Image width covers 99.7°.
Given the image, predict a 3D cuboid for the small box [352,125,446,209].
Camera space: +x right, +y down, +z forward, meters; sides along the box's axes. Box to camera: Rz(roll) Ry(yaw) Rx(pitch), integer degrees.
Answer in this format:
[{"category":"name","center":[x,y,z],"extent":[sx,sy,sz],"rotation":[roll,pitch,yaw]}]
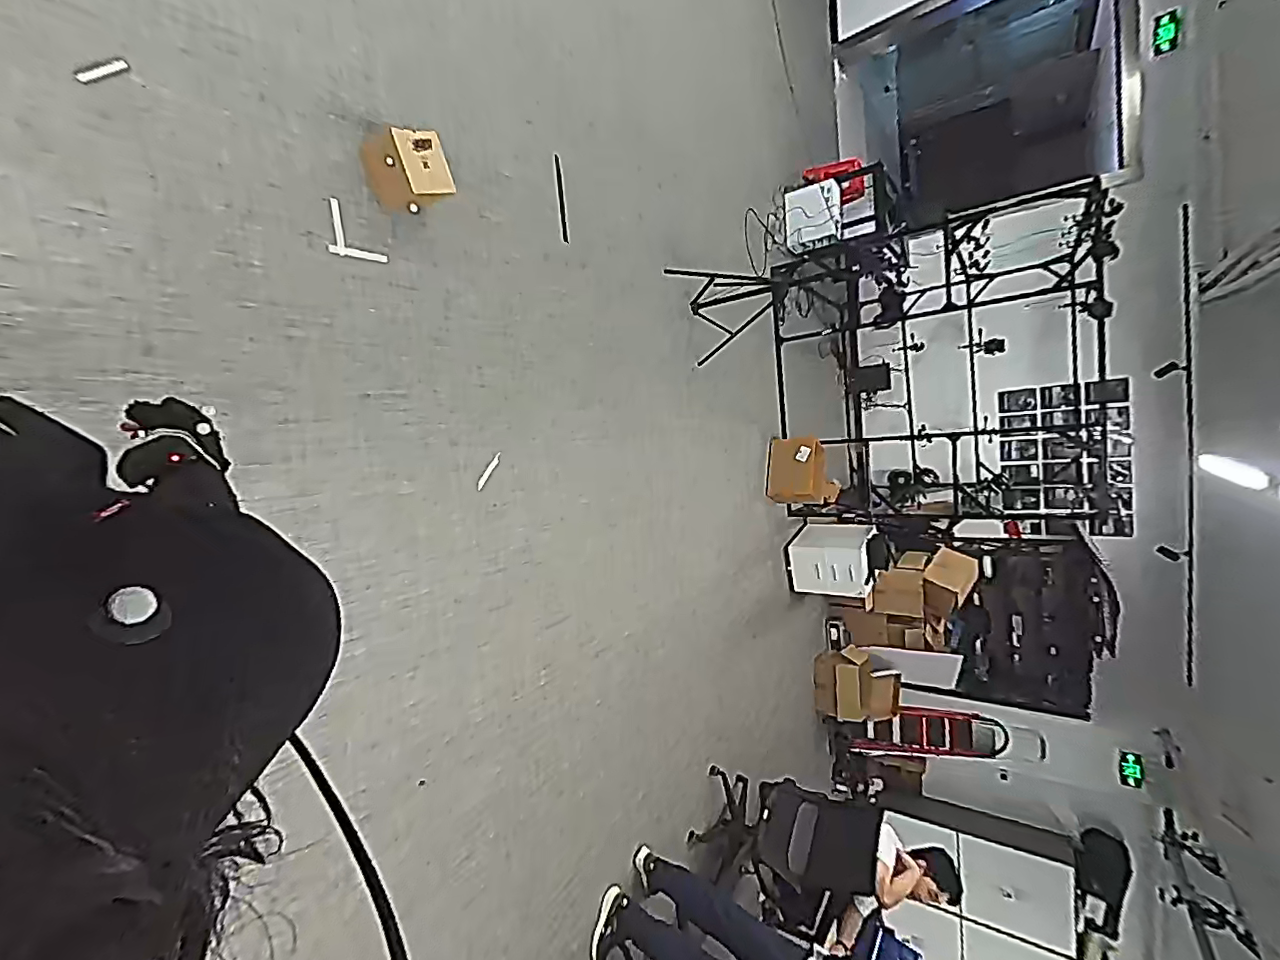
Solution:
[{"category":"small box","center":[-0.735,-0.945,1.644],"extent":[0.168,0.176,0.179],"rotation":[-39,120,-49]}]
